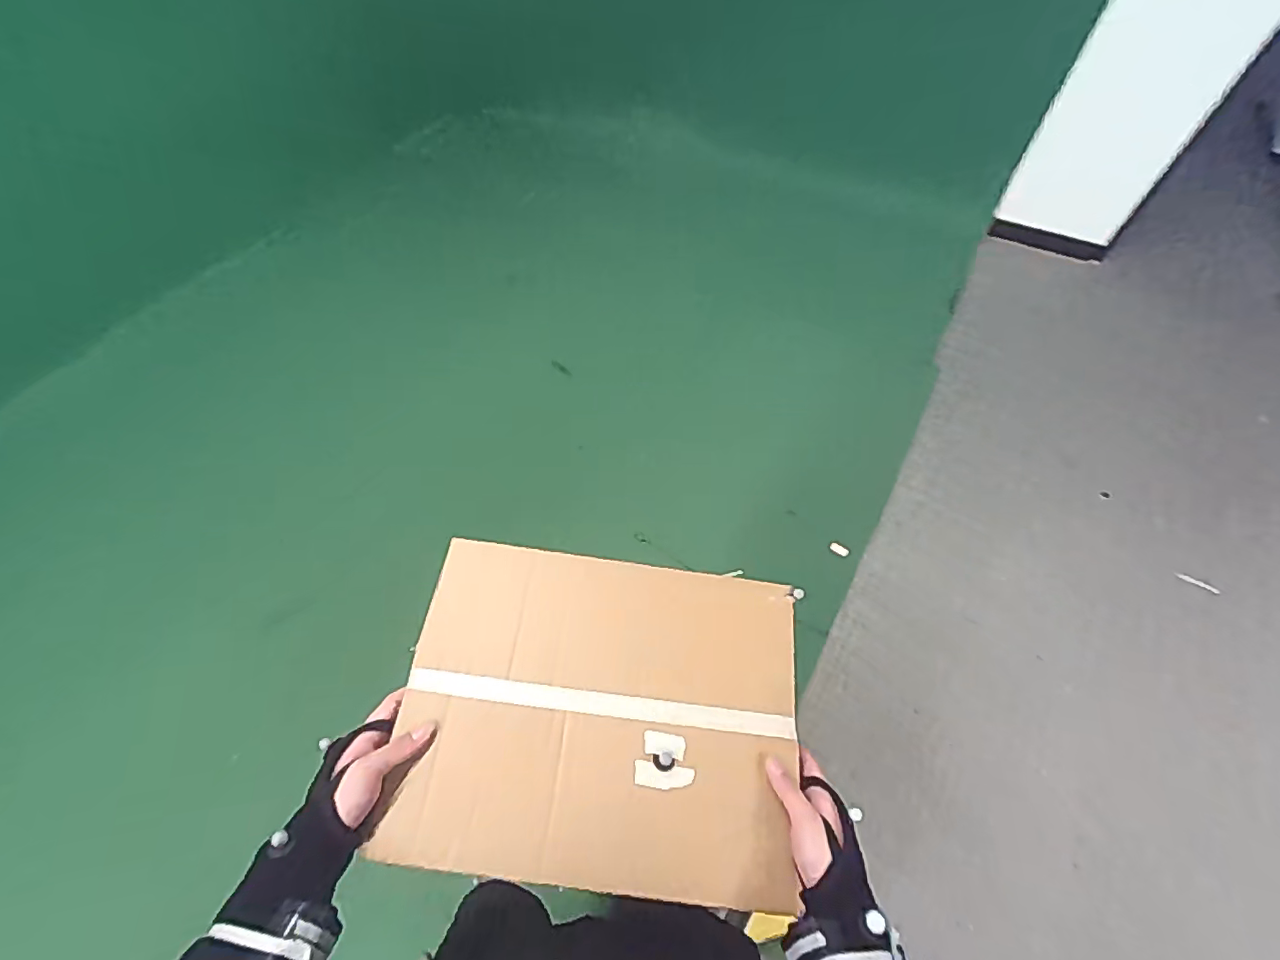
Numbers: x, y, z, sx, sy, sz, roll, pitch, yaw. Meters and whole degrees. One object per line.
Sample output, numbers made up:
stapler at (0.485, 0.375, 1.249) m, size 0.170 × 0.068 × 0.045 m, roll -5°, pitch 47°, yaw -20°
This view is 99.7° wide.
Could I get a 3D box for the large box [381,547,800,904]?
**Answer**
large box at (-0.043, 0.308, 0.703) m, size 0.408 × 0.320 × 0.320 m, roll 9°, pitch 62°, yaw -1°
